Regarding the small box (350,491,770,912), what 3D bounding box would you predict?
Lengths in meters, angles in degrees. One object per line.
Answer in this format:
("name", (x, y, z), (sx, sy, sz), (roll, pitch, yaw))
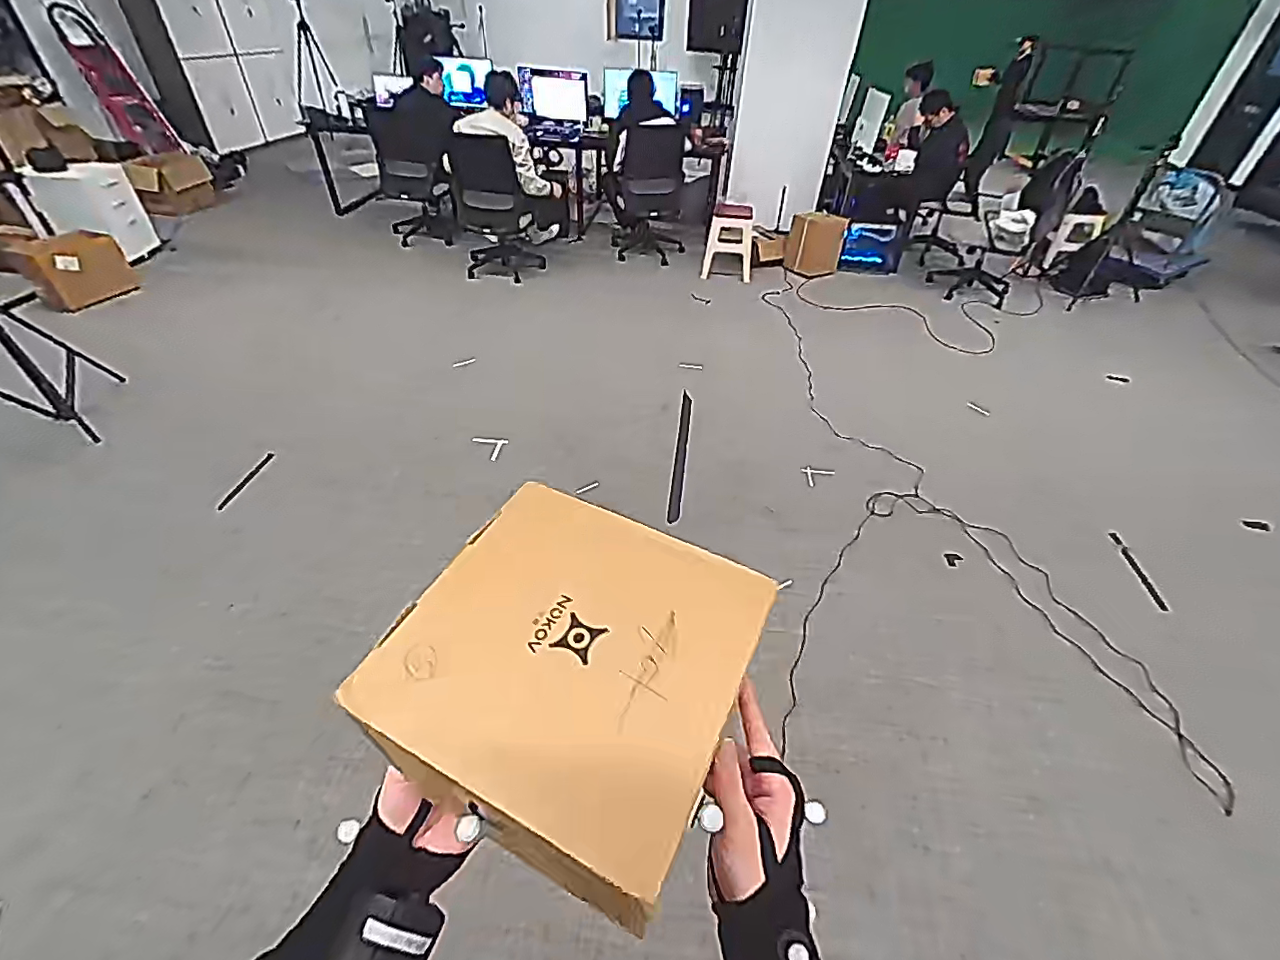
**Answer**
("small box", (-0.036, 0.141, 0.351), (0.179, 0.176, 0.168), (20, 49, 17))
